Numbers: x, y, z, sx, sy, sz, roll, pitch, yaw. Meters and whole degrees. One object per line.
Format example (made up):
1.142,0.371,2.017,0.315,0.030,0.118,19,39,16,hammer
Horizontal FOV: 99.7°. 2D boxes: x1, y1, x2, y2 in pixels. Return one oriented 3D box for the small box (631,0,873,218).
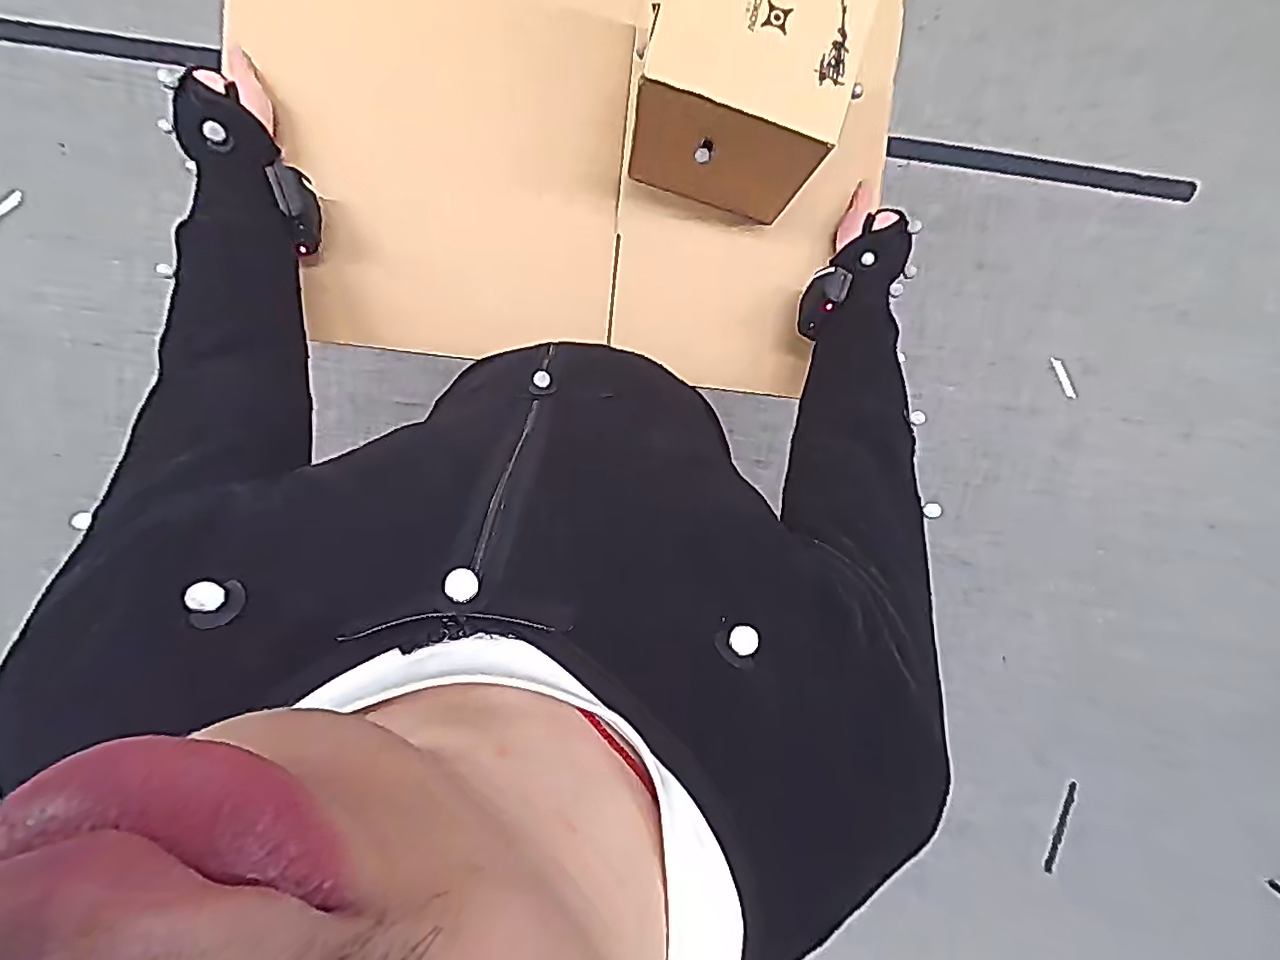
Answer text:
0.096,-0.390,0.533,0.179,0.176,0.168,17,92,-5,small box
